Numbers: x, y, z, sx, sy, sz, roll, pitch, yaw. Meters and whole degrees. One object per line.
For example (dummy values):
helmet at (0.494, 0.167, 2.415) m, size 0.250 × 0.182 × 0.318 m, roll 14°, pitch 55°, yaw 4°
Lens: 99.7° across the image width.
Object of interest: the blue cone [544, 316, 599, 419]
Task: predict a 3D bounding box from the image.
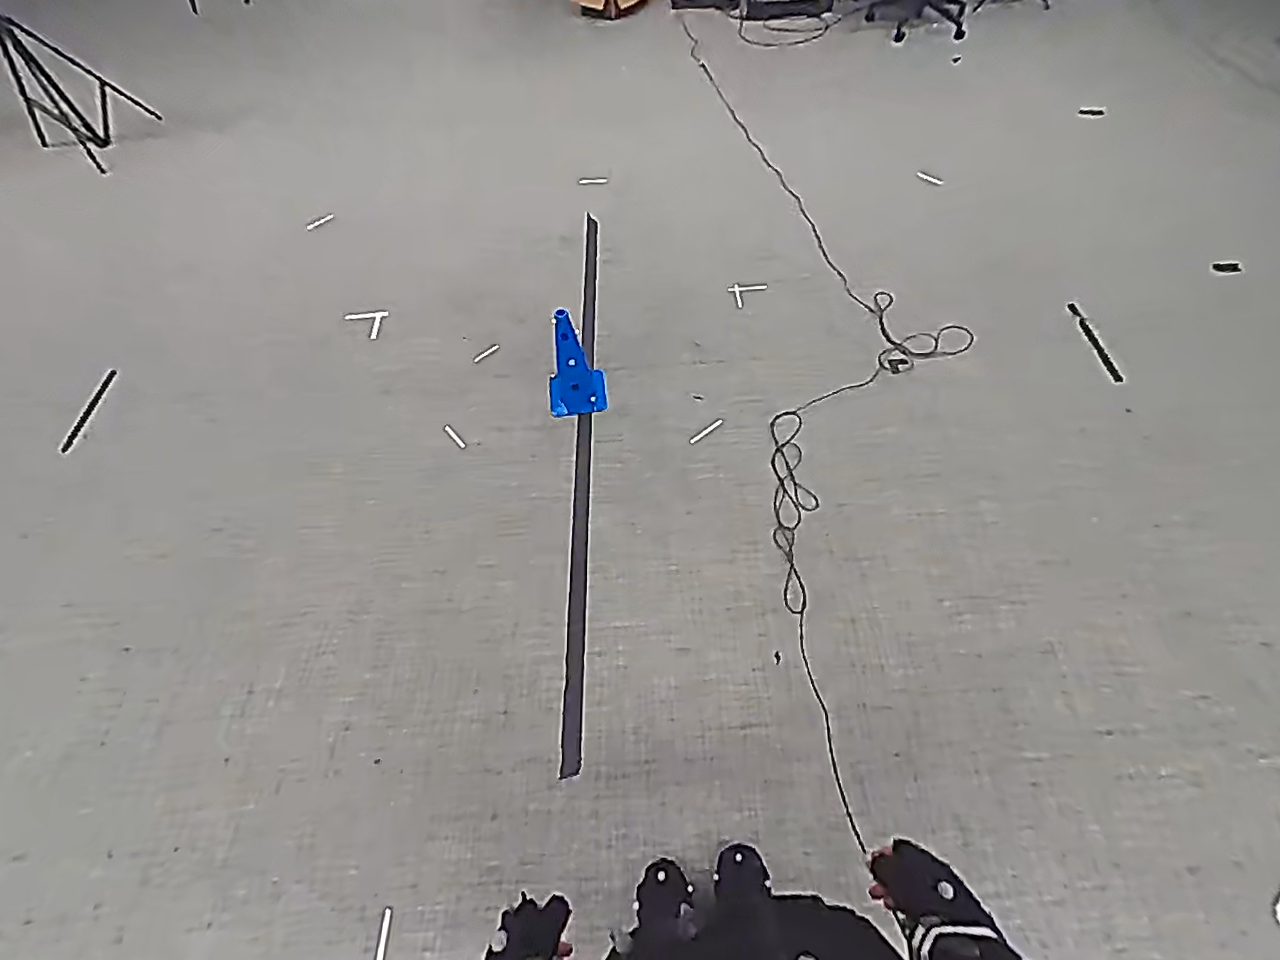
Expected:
blue cone at (-0.255, -0.389, 1.800) m, size 0.192 × 0.380 × 0.193 m, roll -7°, pitch 56°, yaw 0°
